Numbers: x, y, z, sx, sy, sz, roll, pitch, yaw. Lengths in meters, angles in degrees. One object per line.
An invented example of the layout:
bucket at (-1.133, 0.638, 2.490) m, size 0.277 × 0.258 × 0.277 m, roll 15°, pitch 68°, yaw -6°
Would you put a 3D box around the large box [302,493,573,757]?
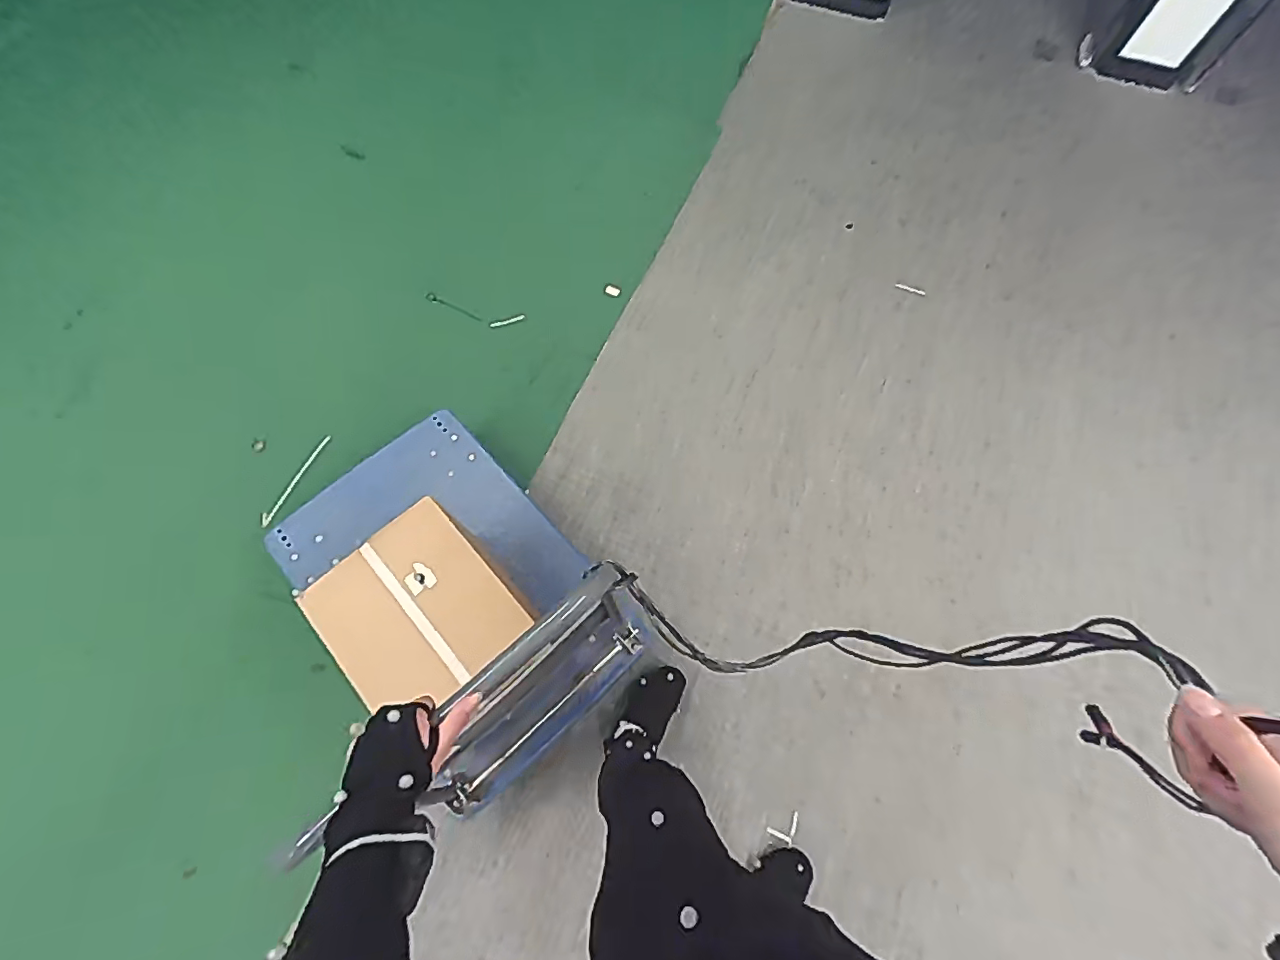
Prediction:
large box at (-0.402, 0.306, 1.157) m, size 0.320 × 0.320 × 0.408 m, roll -41°, pitch 73°, yaw -14°
